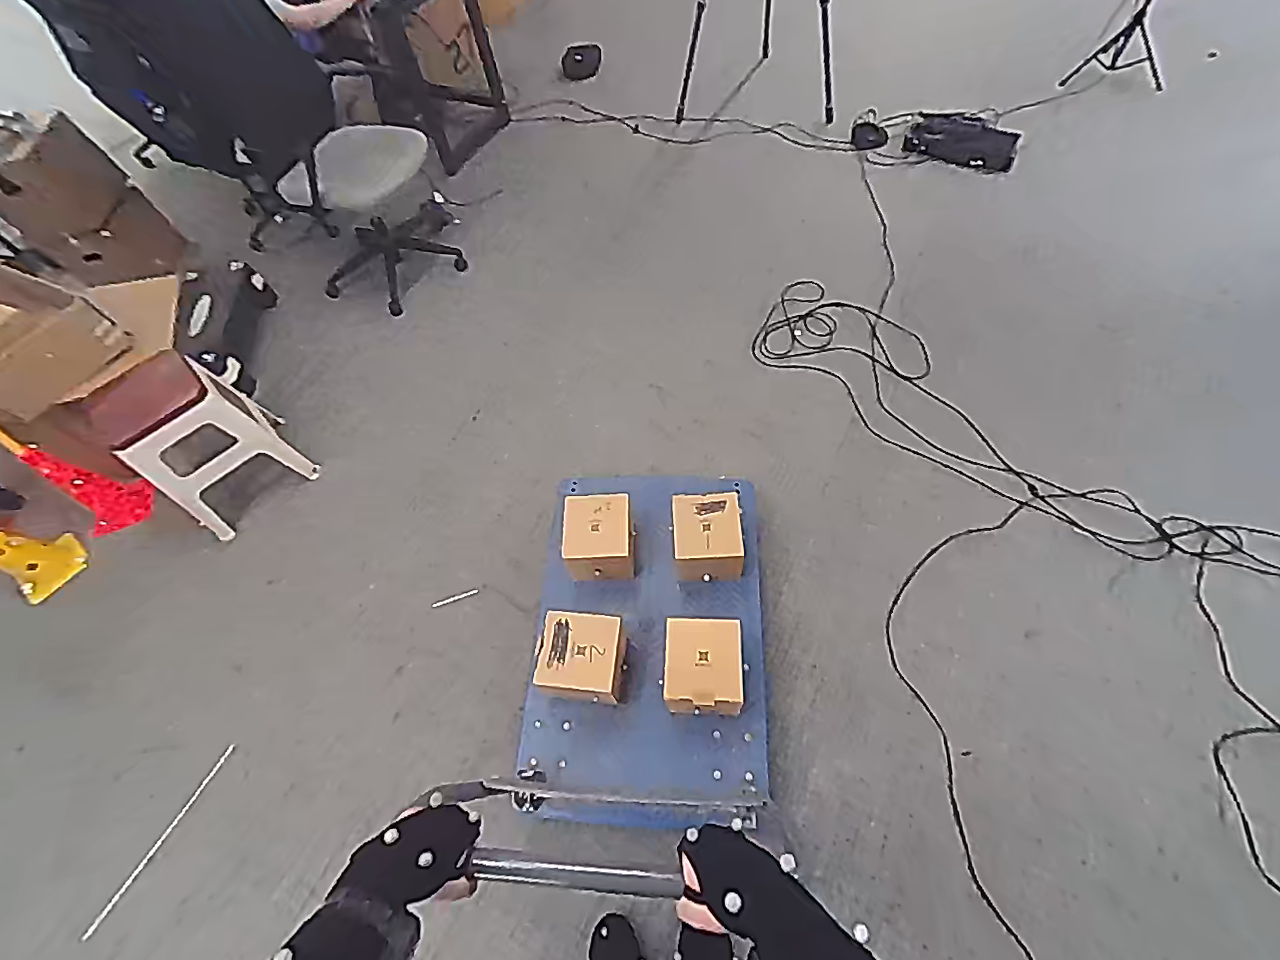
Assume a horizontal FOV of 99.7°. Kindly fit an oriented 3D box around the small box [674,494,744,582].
[{"bbox_3d":[0.171,0.151,1.389,0.168,0.176,0.179,-3,61,4],"label":"small box"}]

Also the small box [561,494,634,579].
[{"bbox_3d":[-0.104,0.153,1.413,0.168,0.176,0.179,-2,59,3],"label":"small box"}]

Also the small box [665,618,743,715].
[{"bbox_3d":[0.143,0.427,1.232,0.168,0.176,0.179,0,60,6],"label":"small box"}]
